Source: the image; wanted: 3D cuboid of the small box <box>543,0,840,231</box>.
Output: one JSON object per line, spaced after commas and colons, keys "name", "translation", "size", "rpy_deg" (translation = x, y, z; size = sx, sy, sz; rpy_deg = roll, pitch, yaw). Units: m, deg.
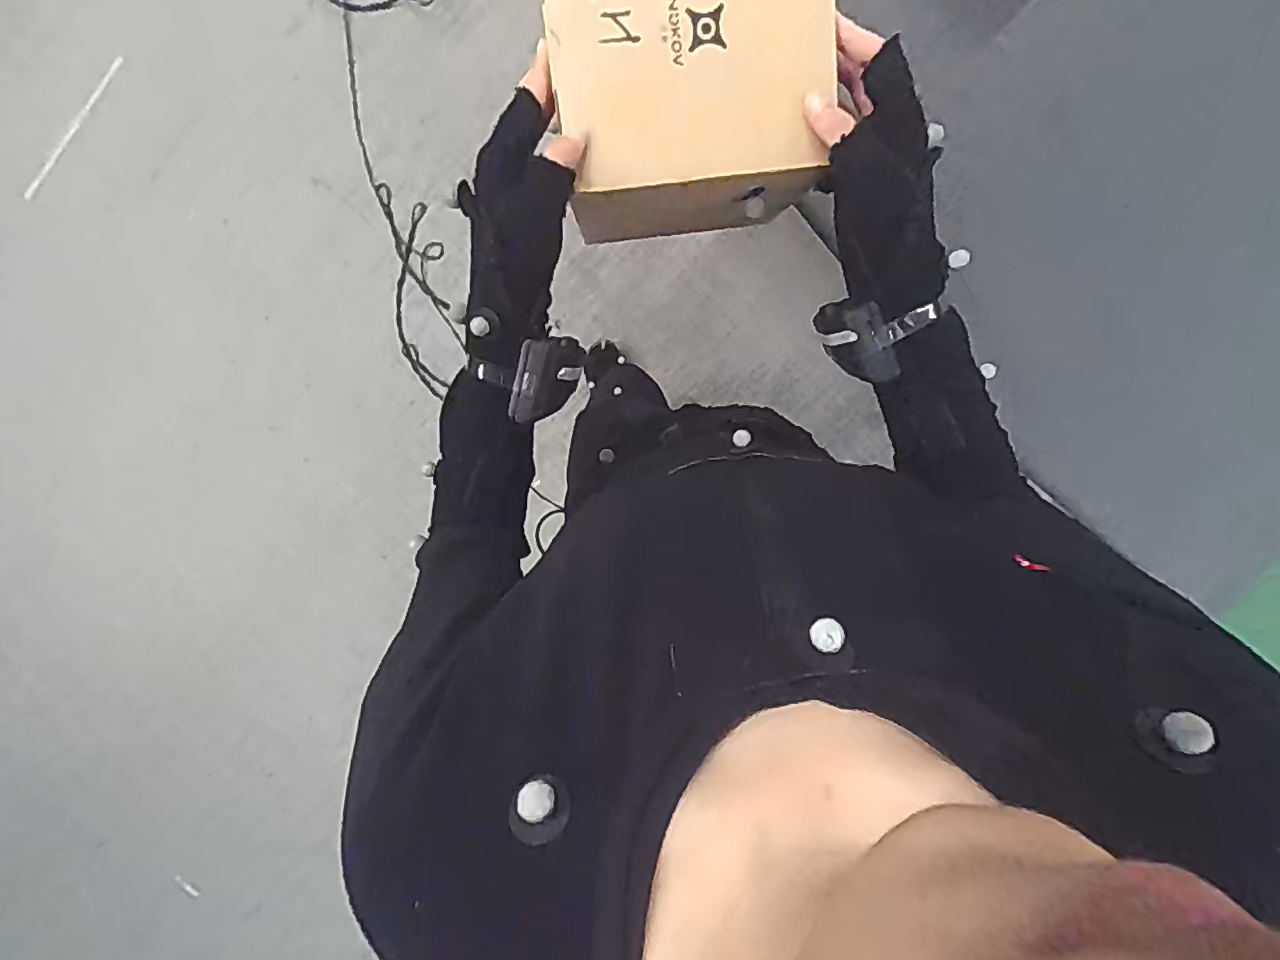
{"name": "small box", "translation": [0.028, -0.292, 0.395], "size": [0.179, 0.176, 0.168], "rpy_deg": [-6, 103, 0]}
